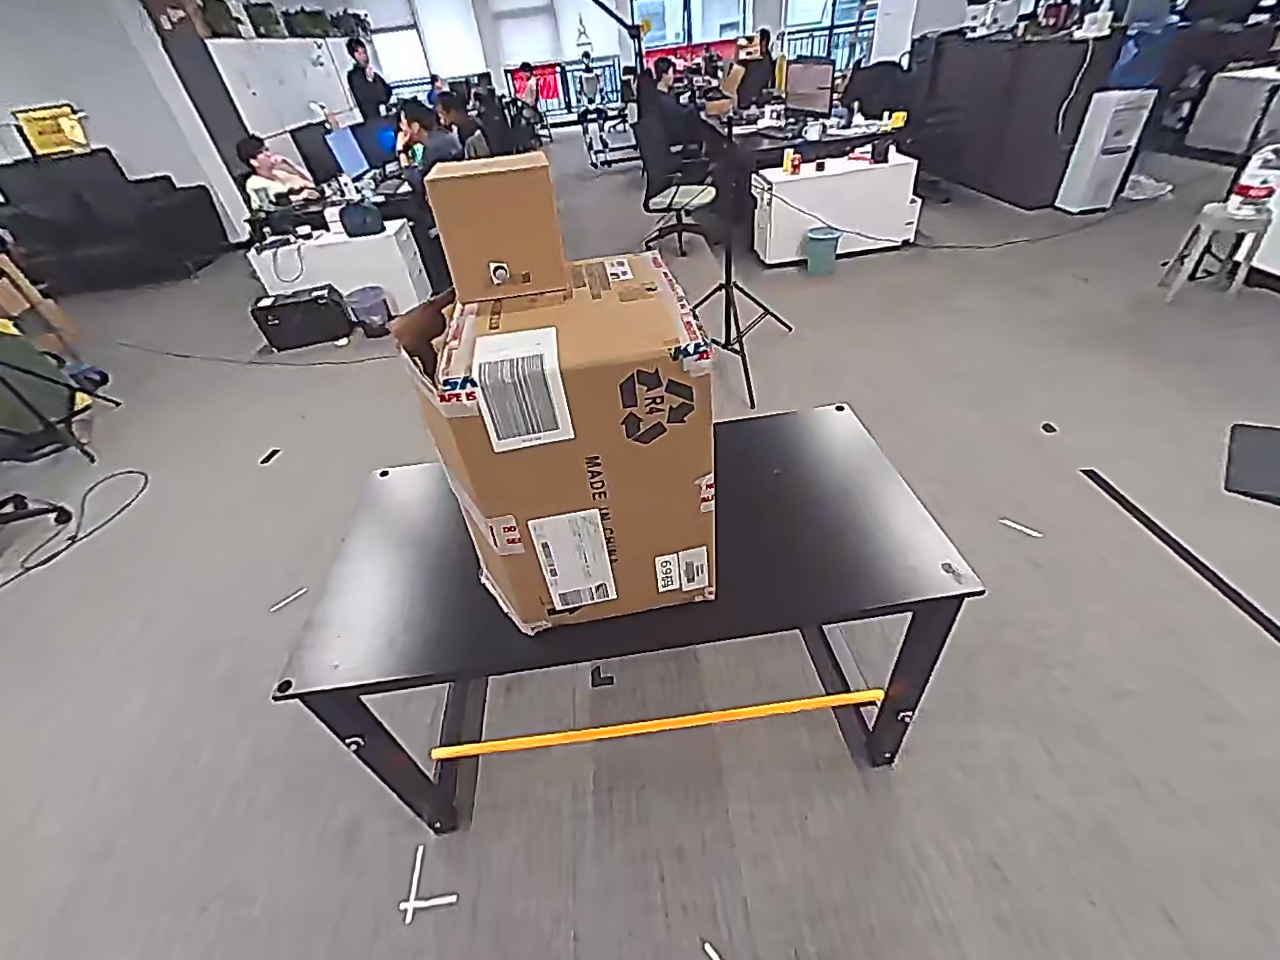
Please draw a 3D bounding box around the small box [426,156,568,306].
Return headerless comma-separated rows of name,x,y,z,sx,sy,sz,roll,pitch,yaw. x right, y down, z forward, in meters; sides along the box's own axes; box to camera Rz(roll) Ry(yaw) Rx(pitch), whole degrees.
small box,-0.210,-0.382,0.828,0.168,0.176,0.179,-12,38,-6
